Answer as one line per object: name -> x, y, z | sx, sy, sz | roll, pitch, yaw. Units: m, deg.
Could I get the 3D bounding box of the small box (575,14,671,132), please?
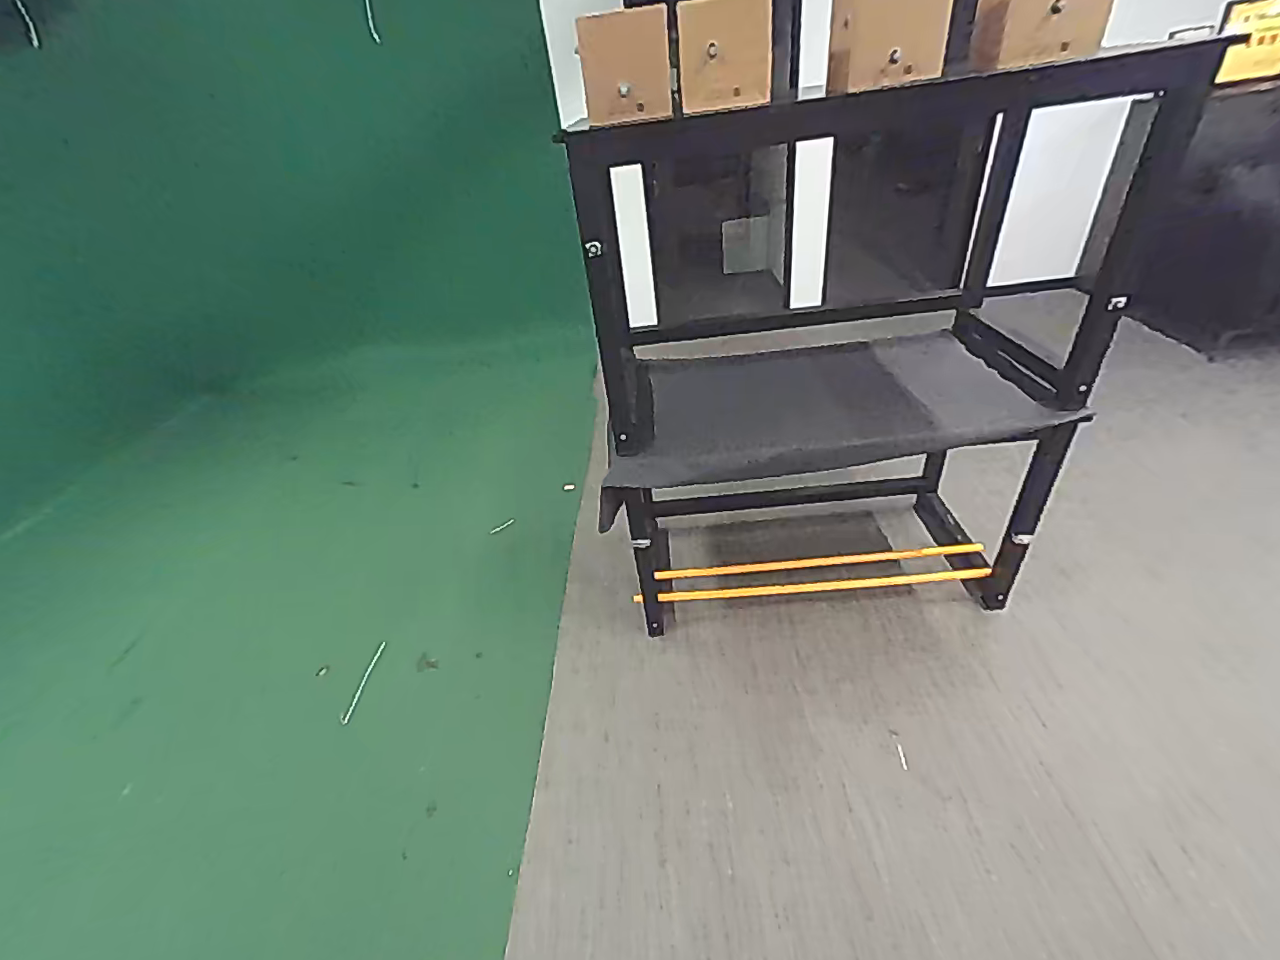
small box -> -0.029, -0.802, 1.078 | 0.168, 0.176, 0.179 | -6, 36, 3

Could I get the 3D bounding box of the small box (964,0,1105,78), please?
small box -> 0.728, -0.860, 0.997 | 0.168, 0.176, 0.179 | 0, 35, 11
